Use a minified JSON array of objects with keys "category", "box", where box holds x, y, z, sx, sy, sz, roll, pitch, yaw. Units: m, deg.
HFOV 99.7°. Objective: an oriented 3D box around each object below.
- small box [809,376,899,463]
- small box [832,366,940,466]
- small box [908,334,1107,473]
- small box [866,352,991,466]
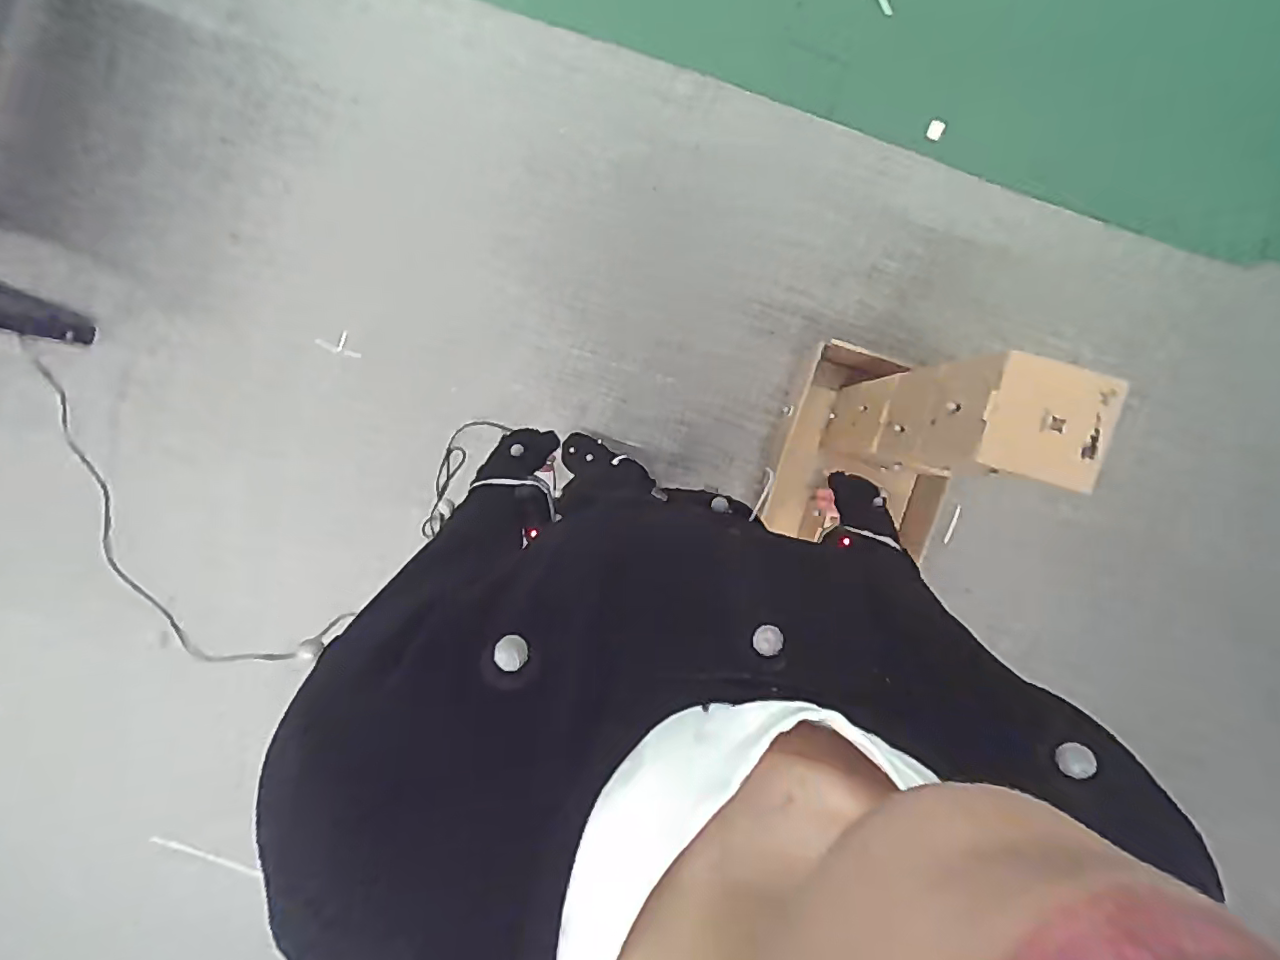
[{"category":"small box","box":[0.542,-0.146,1.326,0.179,0.176,0.168,16,93,0]},{"category":"small box","box":[0.543,-0.135,1.164,0.179,0.176,0.168,15,94,0]},{"category":"small box","box":[0.549,-0.112,0.837,0.179,0.176,0.168,13,95,1]},{"category":"small box","box":[0.547,-0.125,1.000,0.179,0.176,0.168,13,94,0]}]
